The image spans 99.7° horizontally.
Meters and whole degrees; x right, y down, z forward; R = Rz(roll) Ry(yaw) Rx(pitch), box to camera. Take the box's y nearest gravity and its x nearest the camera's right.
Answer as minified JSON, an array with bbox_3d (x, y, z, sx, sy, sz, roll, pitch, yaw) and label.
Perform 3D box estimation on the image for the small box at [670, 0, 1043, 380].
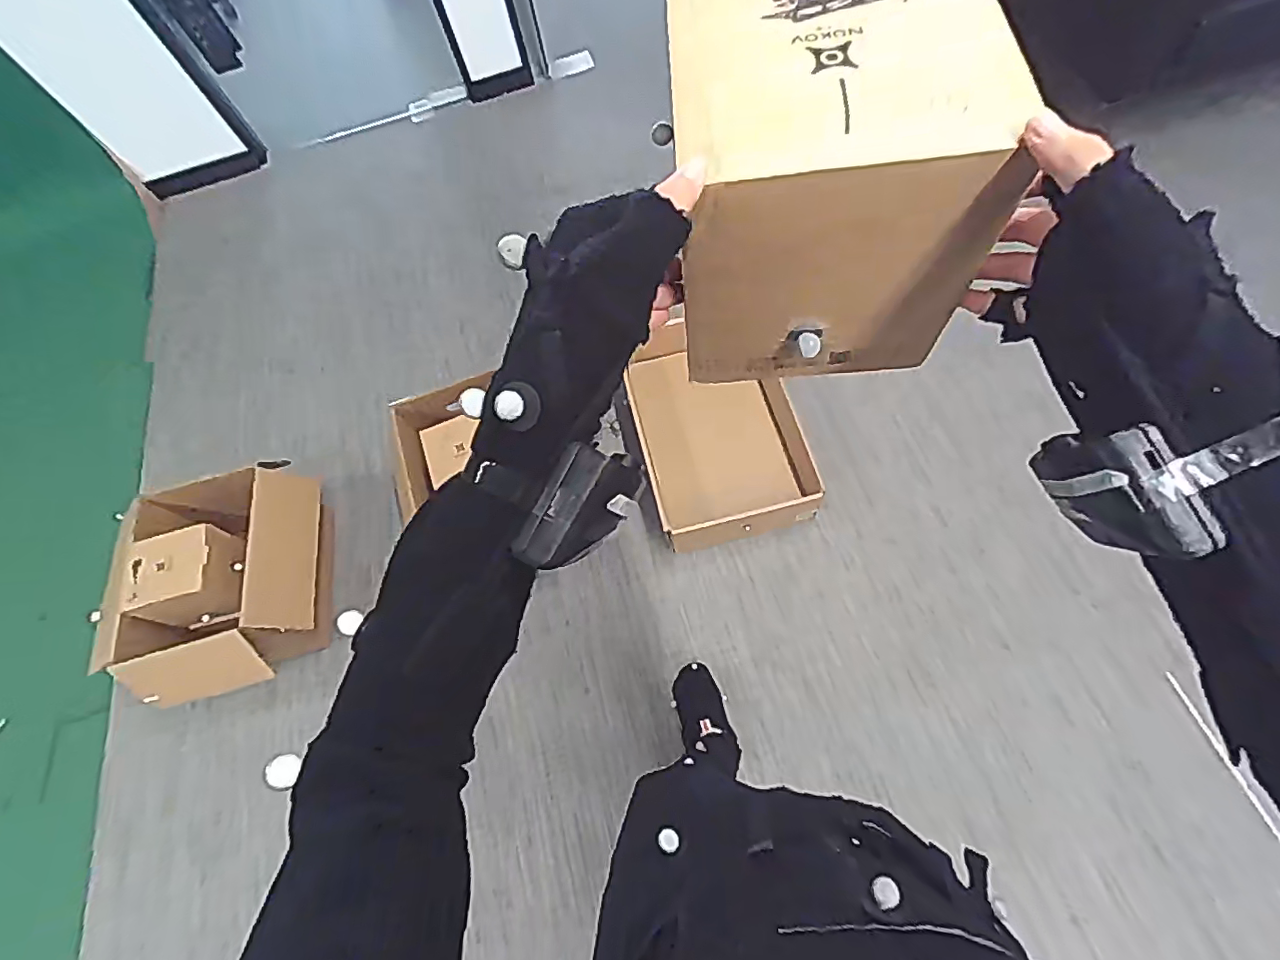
[{"bbox_3d":[0.106,-0.187,0.353,0.168,0.176,0.179,-4,67,6],"label":"small box"}]

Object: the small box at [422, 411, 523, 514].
[{"bbox_3d":[-0.400,-0.032,1.312,0.168,0.176,0.179,-22,67,-4],"label":"small box"}]
